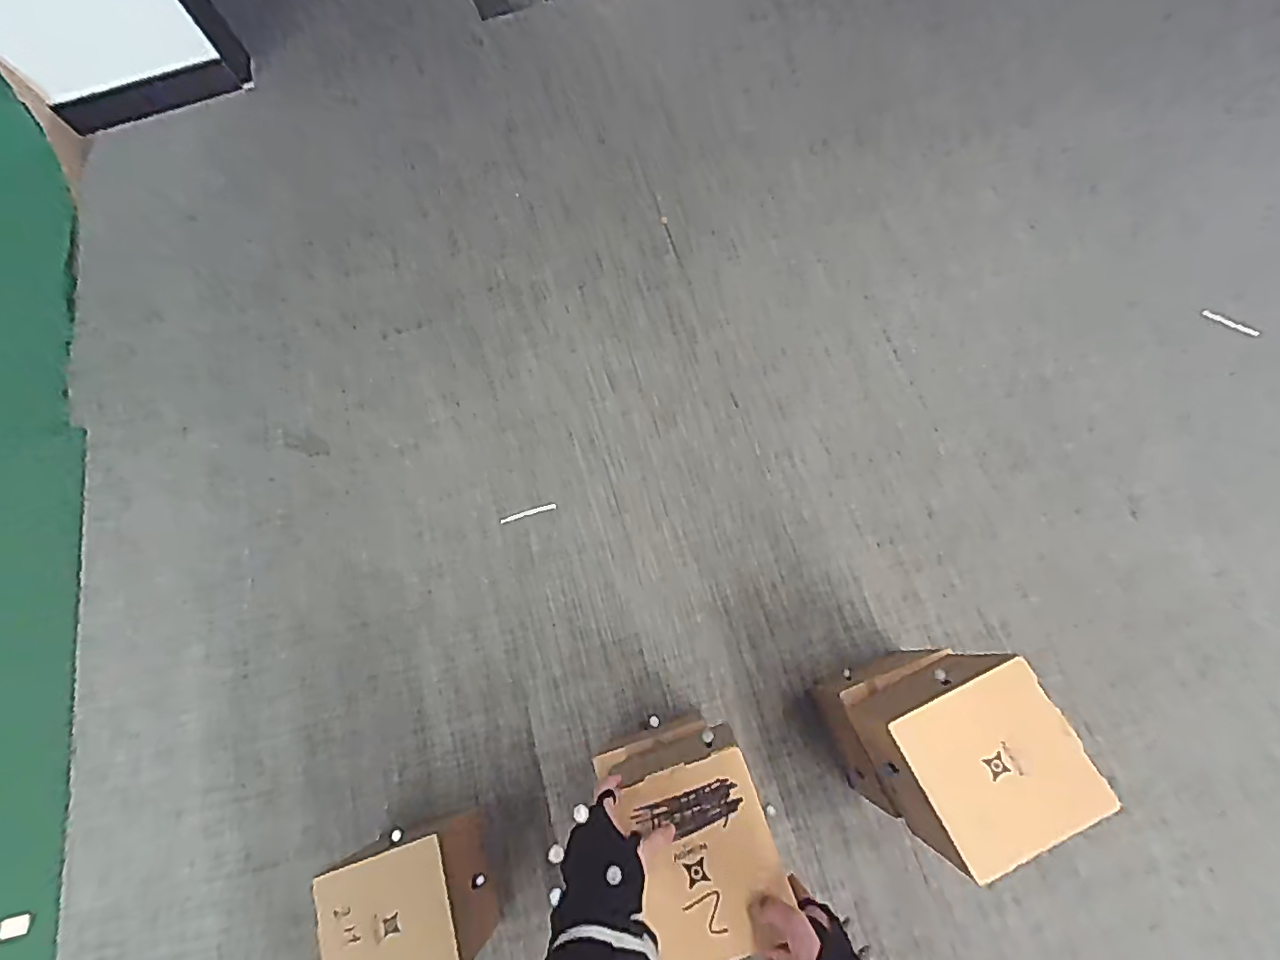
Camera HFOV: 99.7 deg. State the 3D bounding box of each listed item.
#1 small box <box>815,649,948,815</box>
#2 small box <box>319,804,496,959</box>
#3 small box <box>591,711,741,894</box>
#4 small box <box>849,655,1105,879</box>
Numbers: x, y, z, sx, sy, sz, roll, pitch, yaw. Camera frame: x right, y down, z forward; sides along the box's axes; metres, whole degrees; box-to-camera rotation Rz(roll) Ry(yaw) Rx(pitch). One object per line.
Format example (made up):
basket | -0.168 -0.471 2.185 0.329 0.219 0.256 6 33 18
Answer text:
small box | 0.380 0.365 0.808 0.179 0.176 0.168 -20 72 -3
small box | -0.324 0.600 0.786 0.179 0.176 0.168 -19 70 -2
small box | 0.039 0.460 0.803 0.168 0.176 0.179 -18 70 -2
small box | 0.375 0.326 0.650 0.179 0.176 0.168 -25 72 -5
